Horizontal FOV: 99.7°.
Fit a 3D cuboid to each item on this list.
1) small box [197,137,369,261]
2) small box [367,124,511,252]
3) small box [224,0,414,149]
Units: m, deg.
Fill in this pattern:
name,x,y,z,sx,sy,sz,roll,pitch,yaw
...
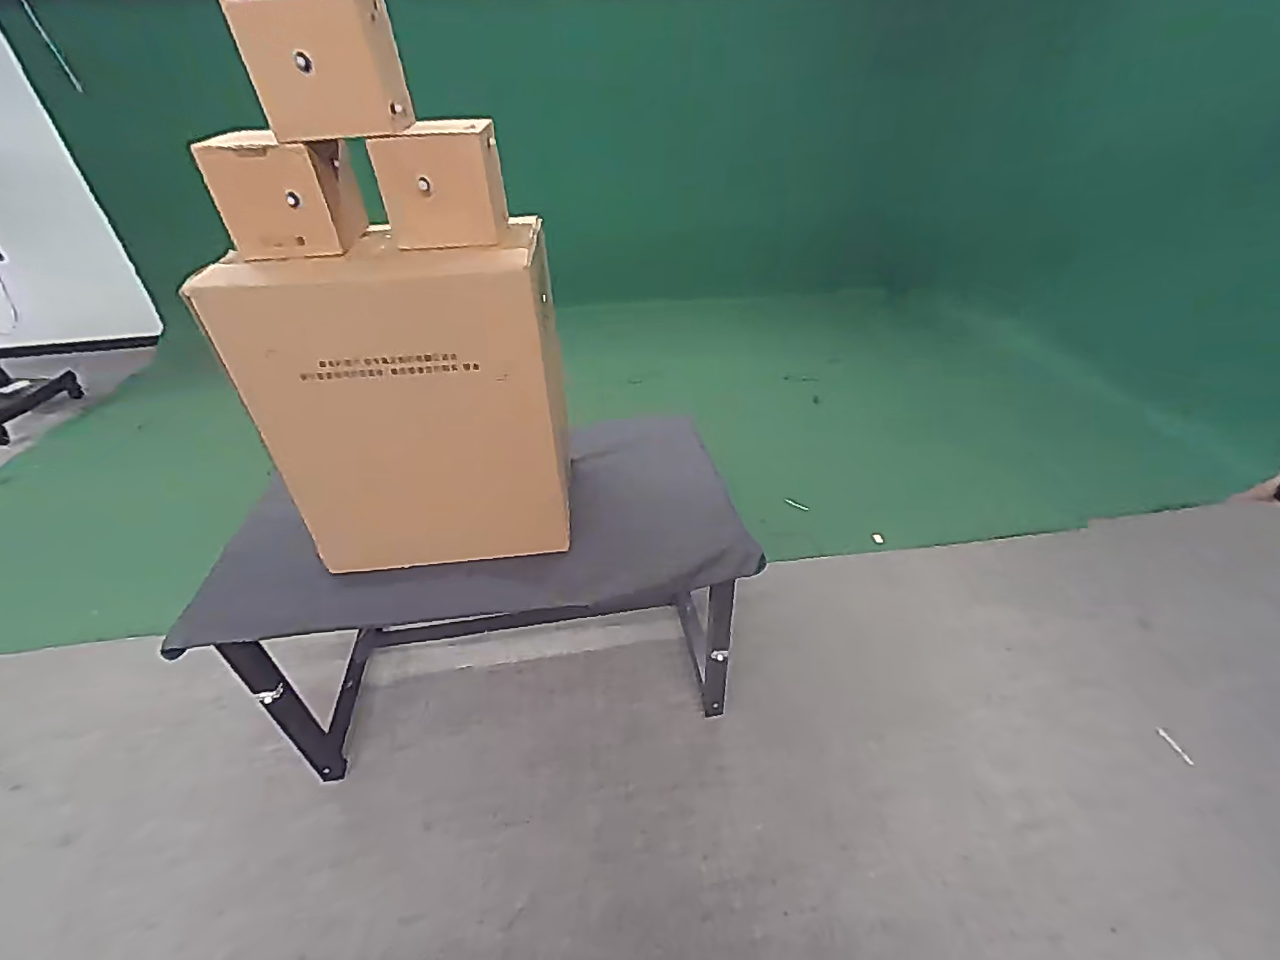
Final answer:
name,x,y,z,sx,sy,sz,roll,pitch,yaw
small box,-0.591,-0.482,0.927,0.168,0.176,0.179,-5,38,-5
small box,-0.336,-0.508,0.943,0.179,0.176,0.168,-5,40,-2
small box,-0.471,-0.623,0.831,0.179,0.176,0.168,-7,39,-3
